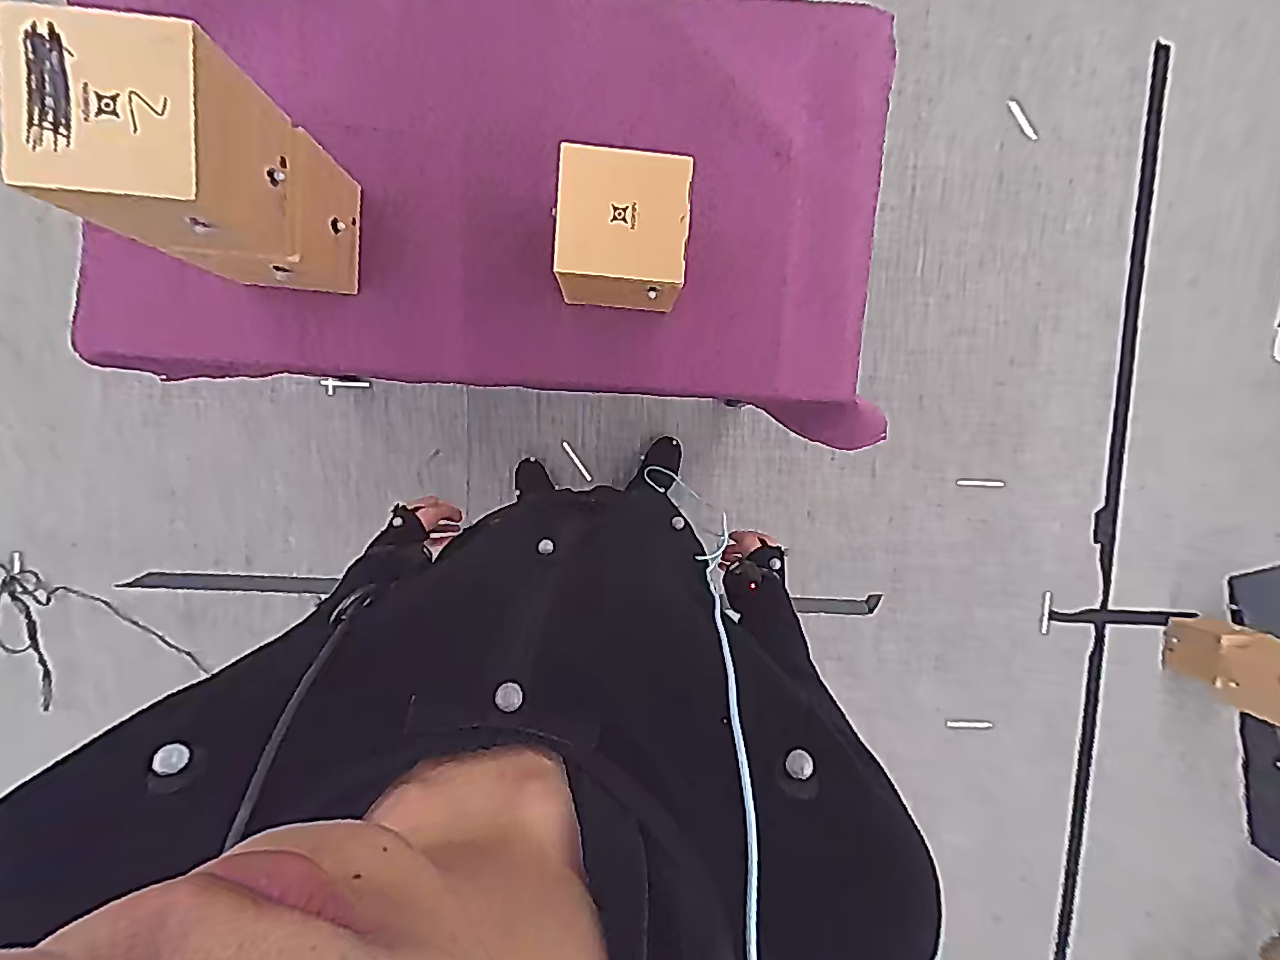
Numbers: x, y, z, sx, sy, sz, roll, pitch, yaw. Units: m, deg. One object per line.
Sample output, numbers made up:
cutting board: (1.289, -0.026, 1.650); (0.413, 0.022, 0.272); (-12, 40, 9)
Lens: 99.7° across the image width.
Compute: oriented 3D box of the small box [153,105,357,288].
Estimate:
small box: (-0.515, -0.374, 0.747); (0.179, 0.176, 0.168); (5, 95, -4)

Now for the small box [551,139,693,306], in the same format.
small box: (-0.028, -0.357, 0.782); (0.179, 0.176, 0.168); (4, 95, -4)
